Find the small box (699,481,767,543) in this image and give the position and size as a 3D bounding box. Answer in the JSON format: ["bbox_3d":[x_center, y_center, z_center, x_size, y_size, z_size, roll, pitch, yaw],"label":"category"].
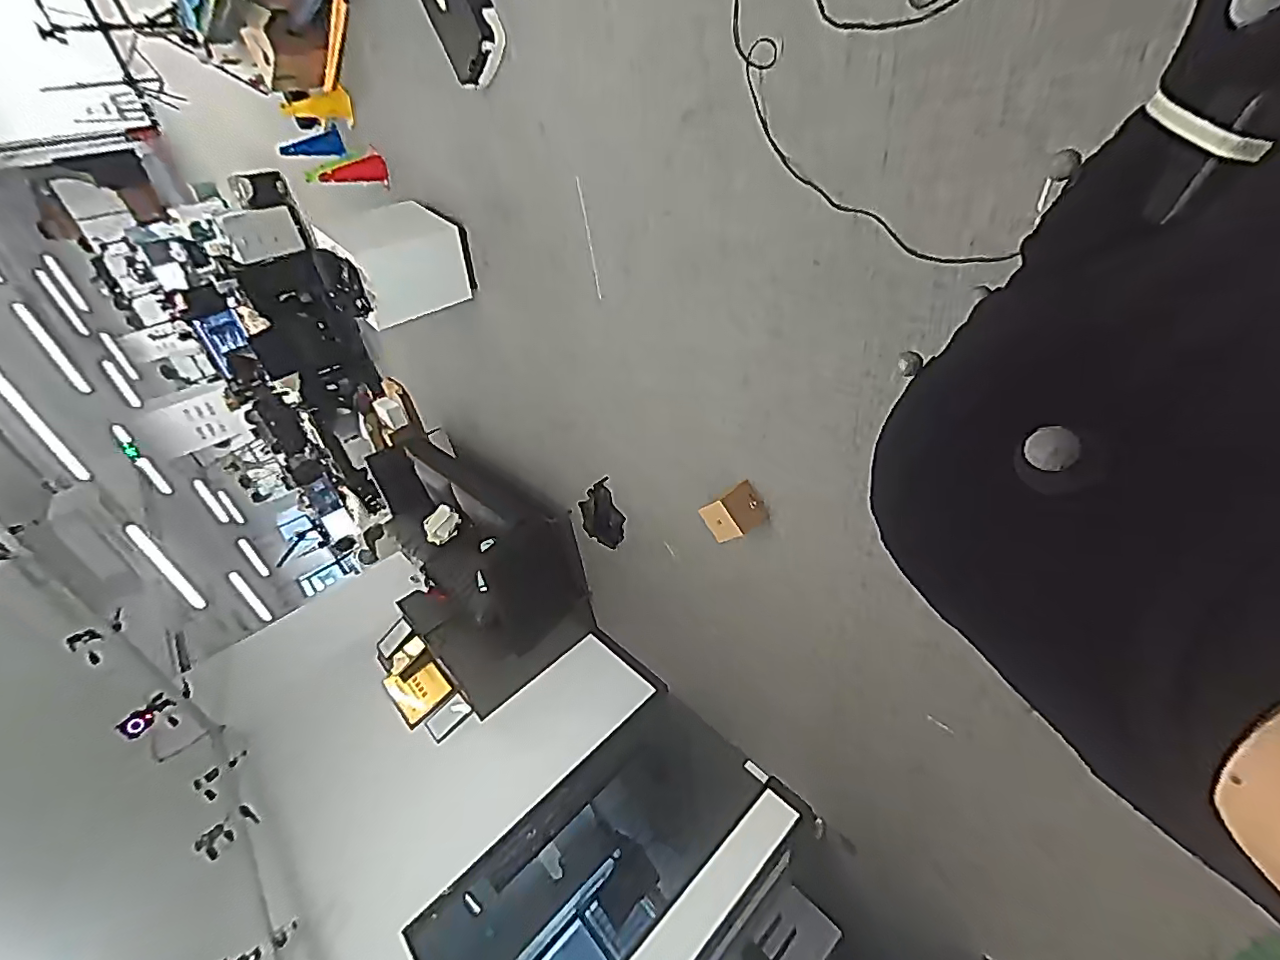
[{"bbox_3d":[0.378,0.128,2.184,0.168,0.176,0.179,55,150,1],"label":"small box"}]
